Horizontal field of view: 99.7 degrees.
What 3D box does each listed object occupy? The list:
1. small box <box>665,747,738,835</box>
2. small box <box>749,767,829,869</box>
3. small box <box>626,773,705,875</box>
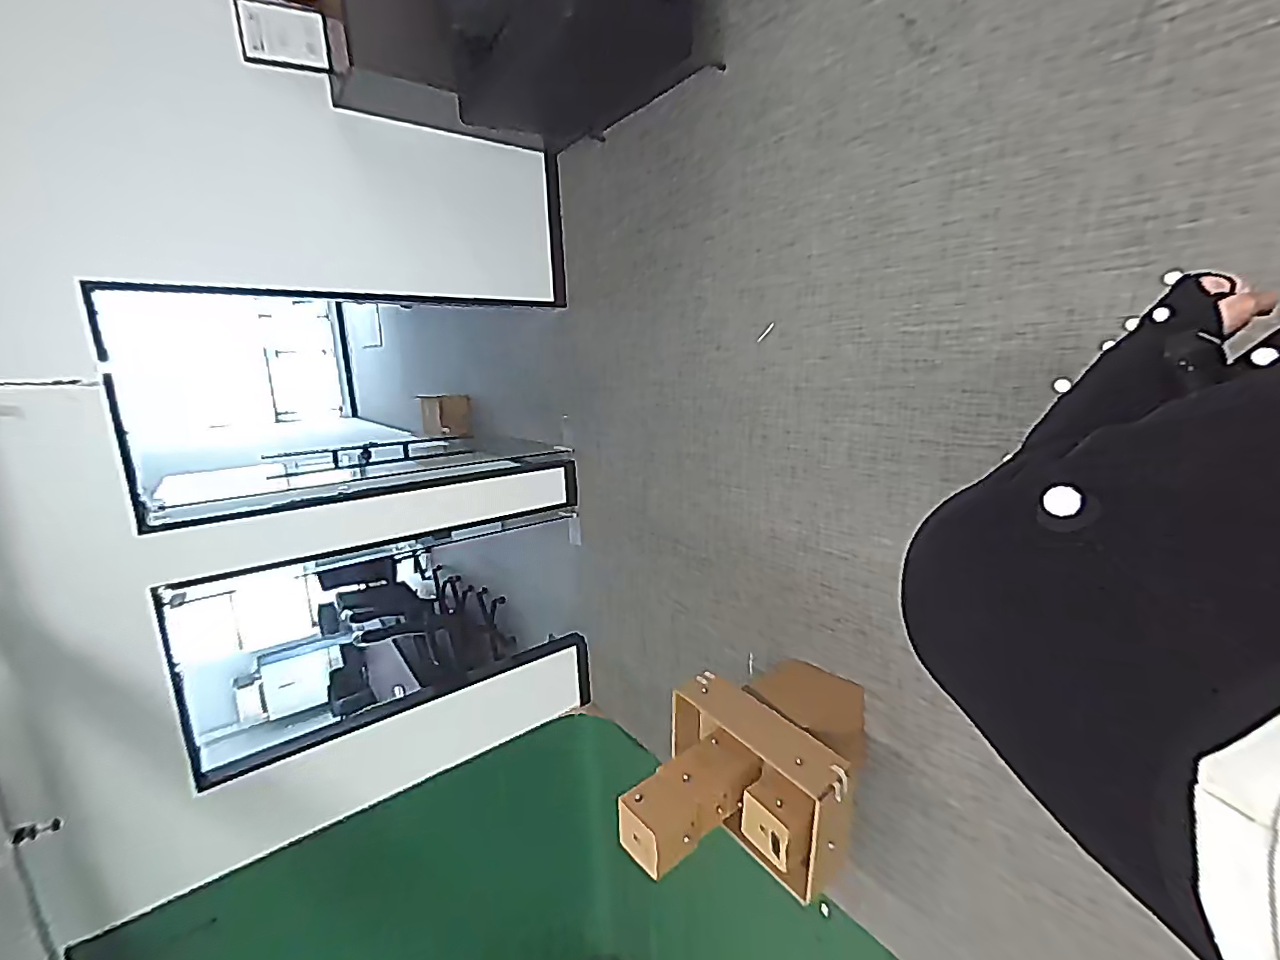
[{"bbox_3d":[0.196,1.007,1.762,0.179,0.176,0.168,17,112,48],"label":"small box"},{"bbox_3d":[0.462,1.034,1.674,0.179,0.176,0.168,21,115,52],"label":"small box"},{"bbox_3d":[0.076,1.036,1.651,0.179,0.176,0.168,15,111,49],"label":"small box"}]
